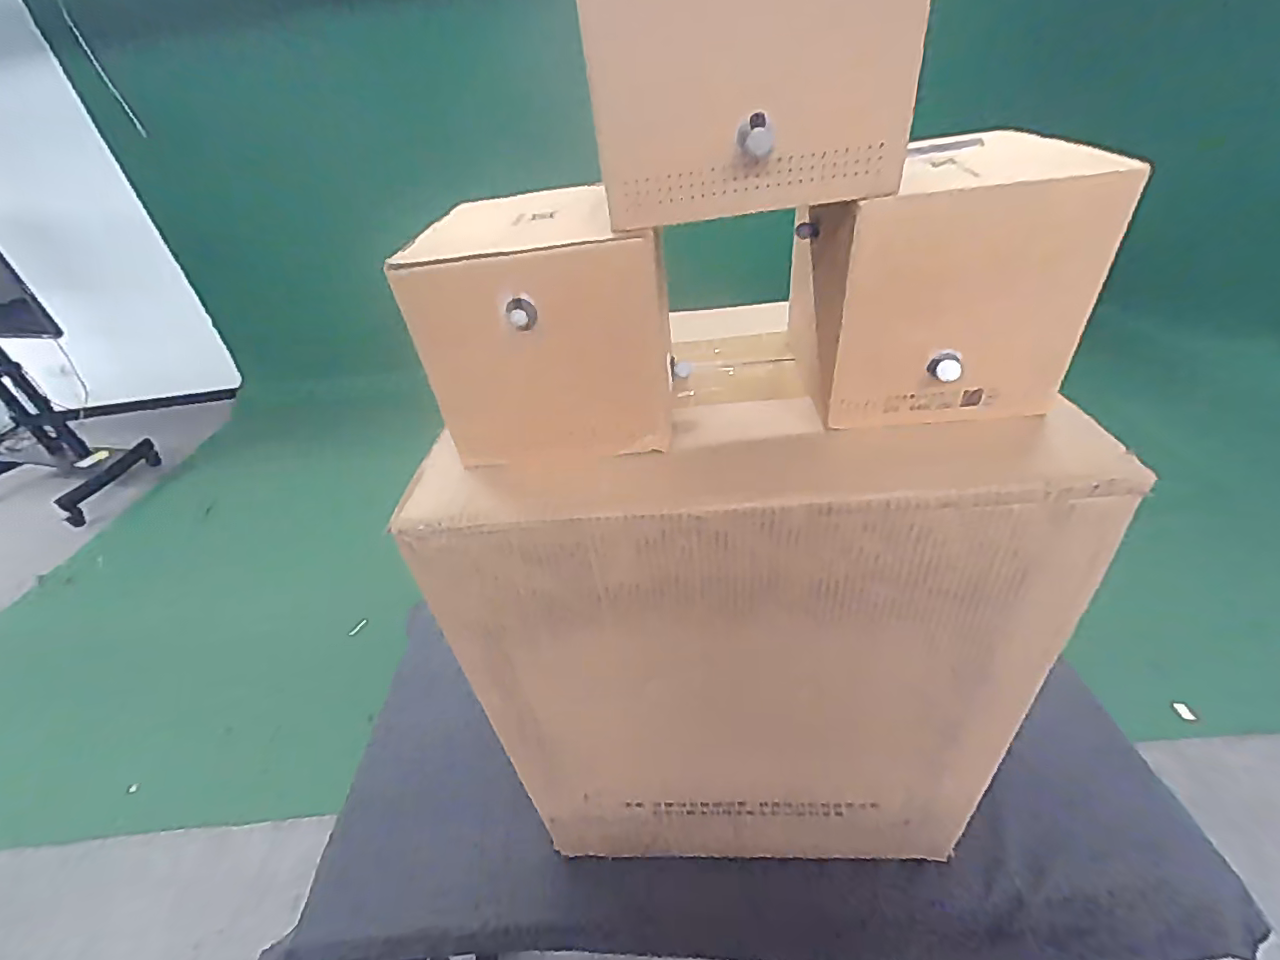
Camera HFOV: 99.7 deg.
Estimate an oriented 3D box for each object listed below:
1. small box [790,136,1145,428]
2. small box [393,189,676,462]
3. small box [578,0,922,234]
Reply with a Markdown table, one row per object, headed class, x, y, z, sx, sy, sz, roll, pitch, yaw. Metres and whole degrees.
| class | x | y | z | sx | sy | sz | roll | pitch | yaw |
| --- | --- | --- | --- | --- | --- | --- | --- | --- | --- |
| small box | 0.221 | -0.159 | 0.433 | 0.168 | 0.176 | 0.179 | -3 | 40 | 5 |
| small box | -0.064 | -0.127 | 0.449 | 0.179 | 0.176 | 0.168 | -3 | 40 | 4 |
| small box | 0.057 | -0.270 | 0.339 | 0.179 | 0.176 | 0.168 | -6 | 39 | 3 |
